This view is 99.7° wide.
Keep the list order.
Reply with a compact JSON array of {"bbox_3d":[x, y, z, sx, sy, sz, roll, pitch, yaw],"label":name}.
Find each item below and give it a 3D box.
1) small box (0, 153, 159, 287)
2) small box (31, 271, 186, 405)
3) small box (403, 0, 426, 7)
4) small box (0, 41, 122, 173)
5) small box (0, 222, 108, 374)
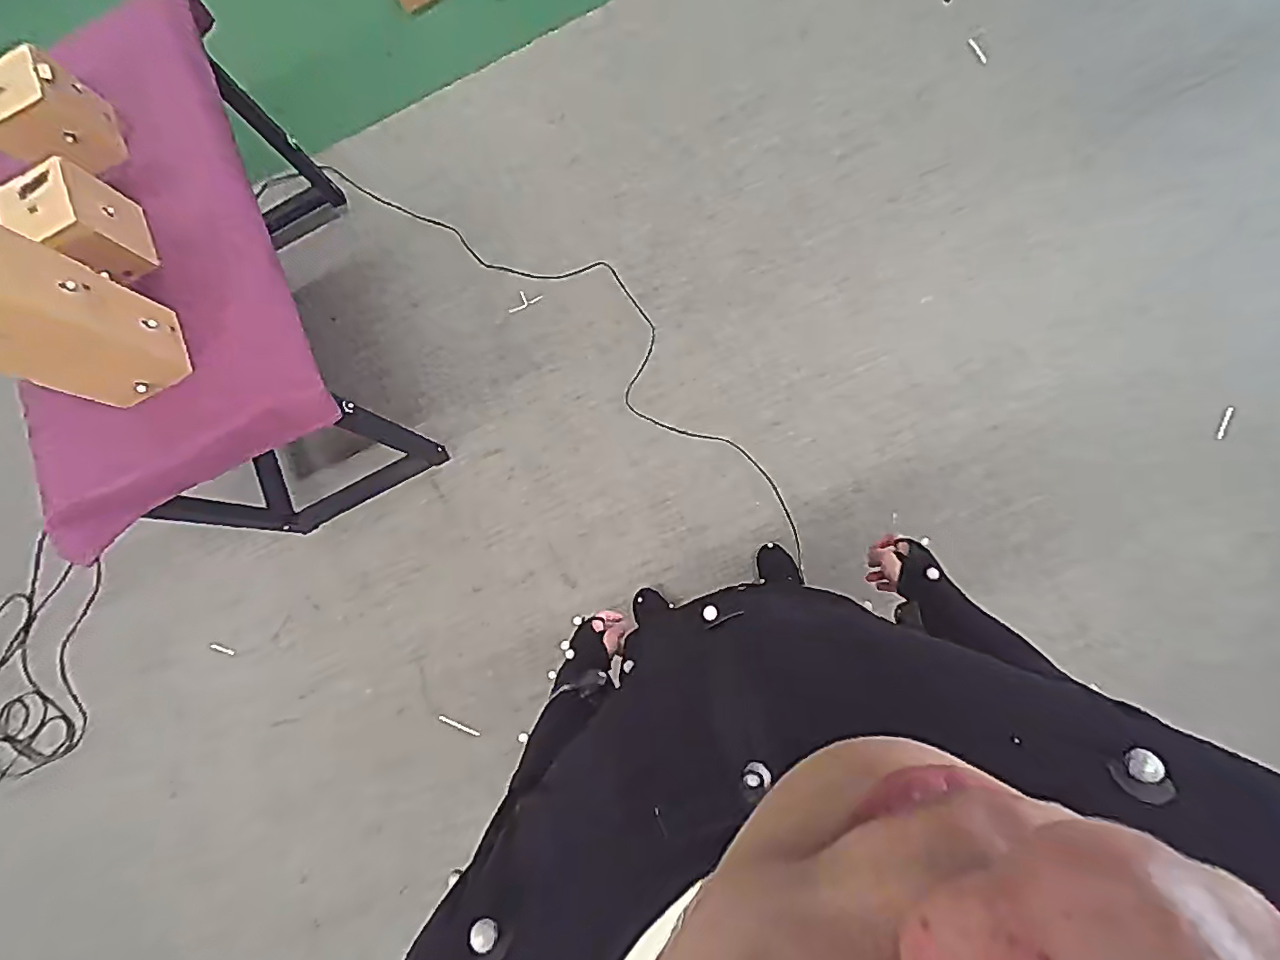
[{"bbox_3d":[-1.189,-0.535,1.151,0.168,0.176,0.179,-27,79,3],"label":"small box"},{"bbox_3d":[-1.067,-0.277,1.089,0.179,0.176,0.168,-27,77,2],"label":"small box"},{"bbox_3d":[-0.900,-2.001,2.101,0.168,0.176,0.179,-26,77,3],"label":"small box"},{"bbox_3d":[-1.326,-0.816,1.219,0.179,0.176,0.168,-26,78,3],"label":"small box"},{"bbox_3d":[-1.089,-0.308,0.929,0.179,0.176,0.168,-27,78,2],"label":"small box"}]
